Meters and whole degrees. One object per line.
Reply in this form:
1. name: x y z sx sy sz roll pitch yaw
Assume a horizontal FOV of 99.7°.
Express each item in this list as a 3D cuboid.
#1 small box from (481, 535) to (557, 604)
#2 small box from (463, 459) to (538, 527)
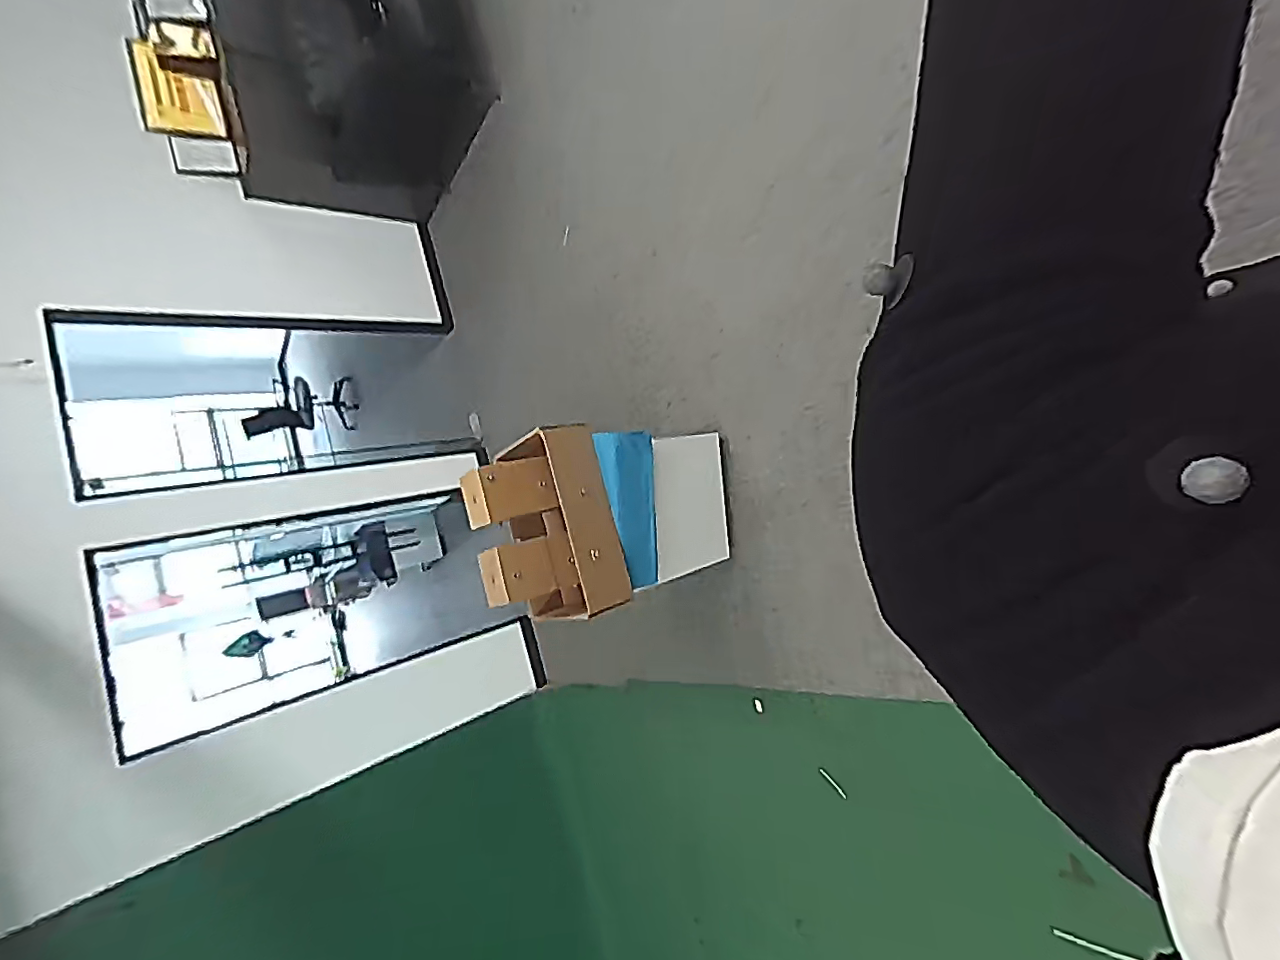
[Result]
1. small box: -0.382 0.285 1.716 0.168 0.176 0.179 -21 81 51
2. small box: -0.446 0.040 1.742 0.168 0.176 0.179 -19 84 51
